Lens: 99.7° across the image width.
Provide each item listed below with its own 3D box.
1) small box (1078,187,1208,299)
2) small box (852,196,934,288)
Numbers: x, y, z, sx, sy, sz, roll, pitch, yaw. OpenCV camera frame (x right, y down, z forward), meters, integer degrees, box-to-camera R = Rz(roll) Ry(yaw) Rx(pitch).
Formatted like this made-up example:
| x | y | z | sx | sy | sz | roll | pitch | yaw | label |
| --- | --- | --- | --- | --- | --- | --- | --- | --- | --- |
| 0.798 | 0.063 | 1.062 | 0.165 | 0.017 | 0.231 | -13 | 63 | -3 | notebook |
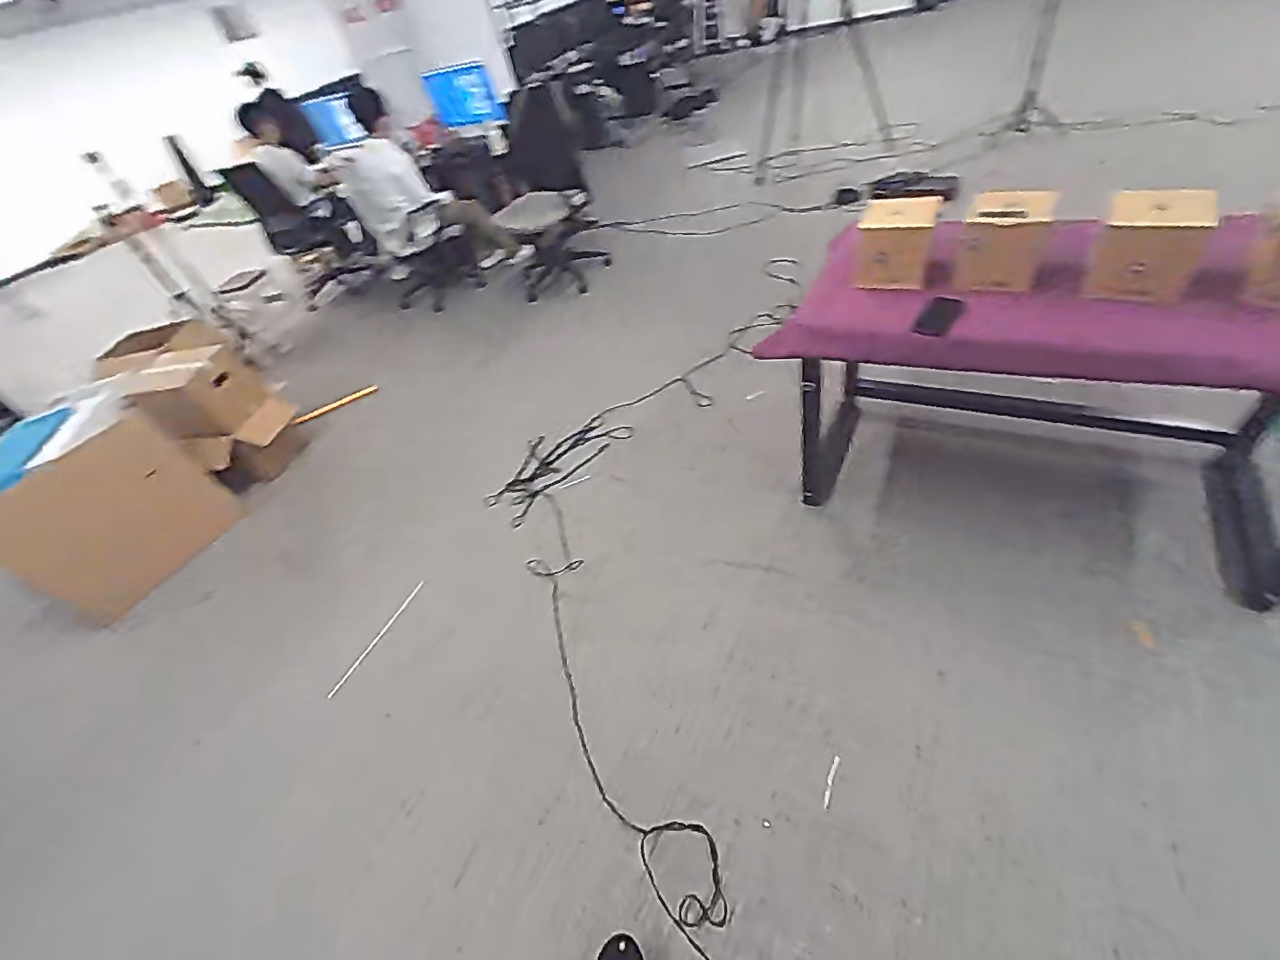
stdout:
| x | y | z | sx | sy | sz | roll | pitch | yaw | label |
| --- | --- | --- | --- | --- | --- | --- | --- | --- | --- |
| 1.084 | -0.513 | 1.175 | 0.168 | 0.176 | 0.179 | 17 | 53 | 30 | small box |
| 0.661 | -0.620 | 1.420 | 0.168 | 0.176 | 0.179 | 11 | 50 | 27 | small box |
